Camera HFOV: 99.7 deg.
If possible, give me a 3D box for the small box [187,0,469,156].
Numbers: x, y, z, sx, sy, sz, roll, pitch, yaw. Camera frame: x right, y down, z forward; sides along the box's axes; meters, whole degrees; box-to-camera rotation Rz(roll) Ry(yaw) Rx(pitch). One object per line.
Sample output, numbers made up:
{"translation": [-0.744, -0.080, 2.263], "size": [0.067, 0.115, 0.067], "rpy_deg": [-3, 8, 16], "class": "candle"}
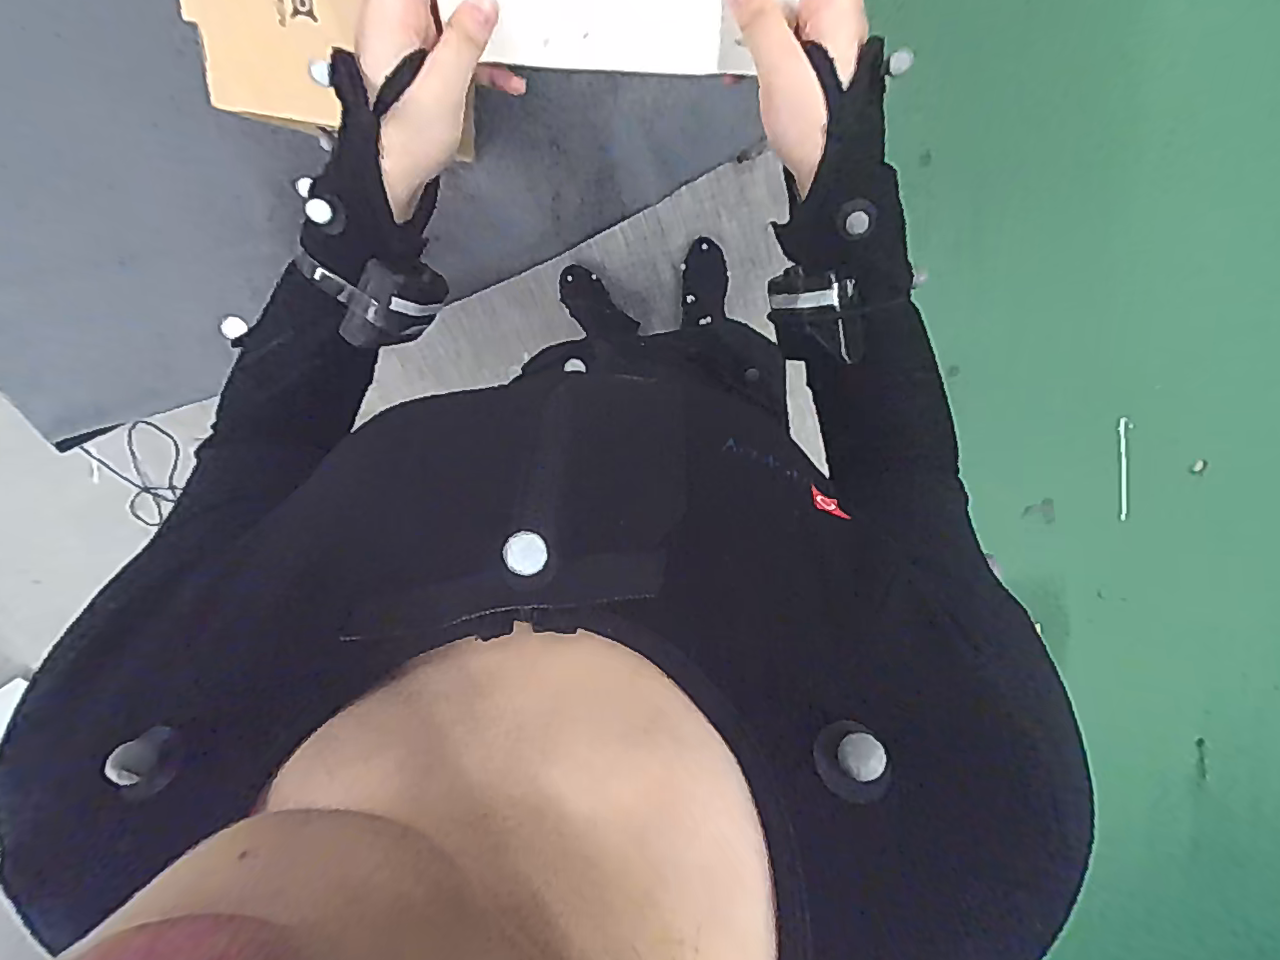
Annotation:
{"translation": [-0.267, -0.409, 0.498], "size": [0.179, 0.176, 0.168], "rpy_deg": [9, 116, 1], "class": "small box"}
